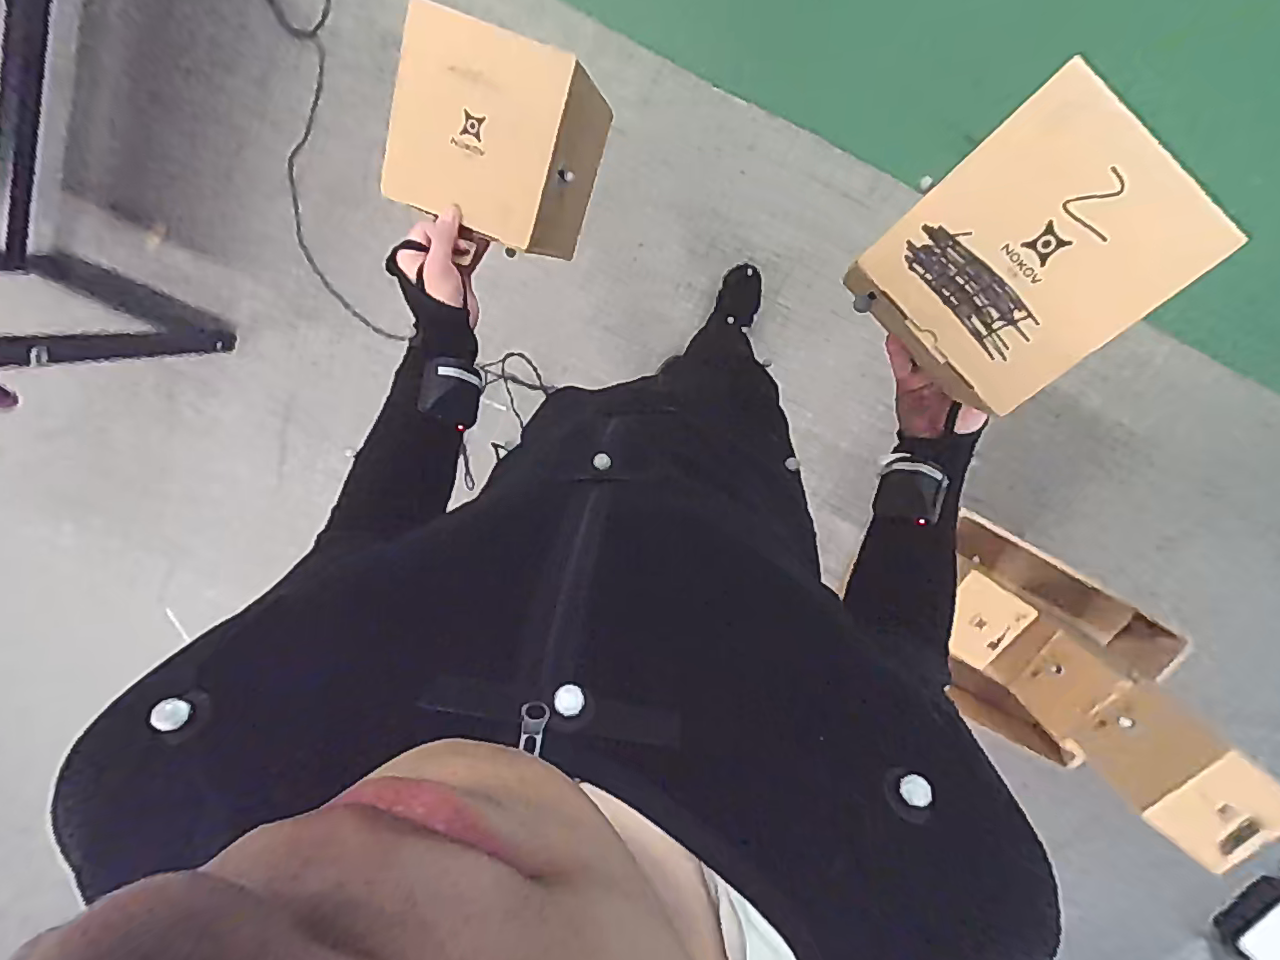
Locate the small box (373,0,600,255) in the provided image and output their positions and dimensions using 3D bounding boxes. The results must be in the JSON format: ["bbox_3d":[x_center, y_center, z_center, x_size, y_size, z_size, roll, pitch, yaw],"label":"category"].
[{"bbox_3d":[-0.155,-0.360,0.590,0.168,0.176,0.179,22,111,2],"label":"small box"}]

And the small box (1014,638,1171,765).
[{"bbox_3d":[0.878,0.435,1.032,0.179,0.176,0.168,28,106,-3],"label":"small box"}]

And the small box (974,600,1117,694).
[{"bbox_3d":[0.892,0.394,1.188,0.179,0.176,0.168,28,105,-4],"label":"small box"}]

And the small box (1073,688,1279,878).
[{"bbox_3d":[0.873,0.477,0.873,0.179,0.176,0.168,37,105,-5],"label":"small box"}]
